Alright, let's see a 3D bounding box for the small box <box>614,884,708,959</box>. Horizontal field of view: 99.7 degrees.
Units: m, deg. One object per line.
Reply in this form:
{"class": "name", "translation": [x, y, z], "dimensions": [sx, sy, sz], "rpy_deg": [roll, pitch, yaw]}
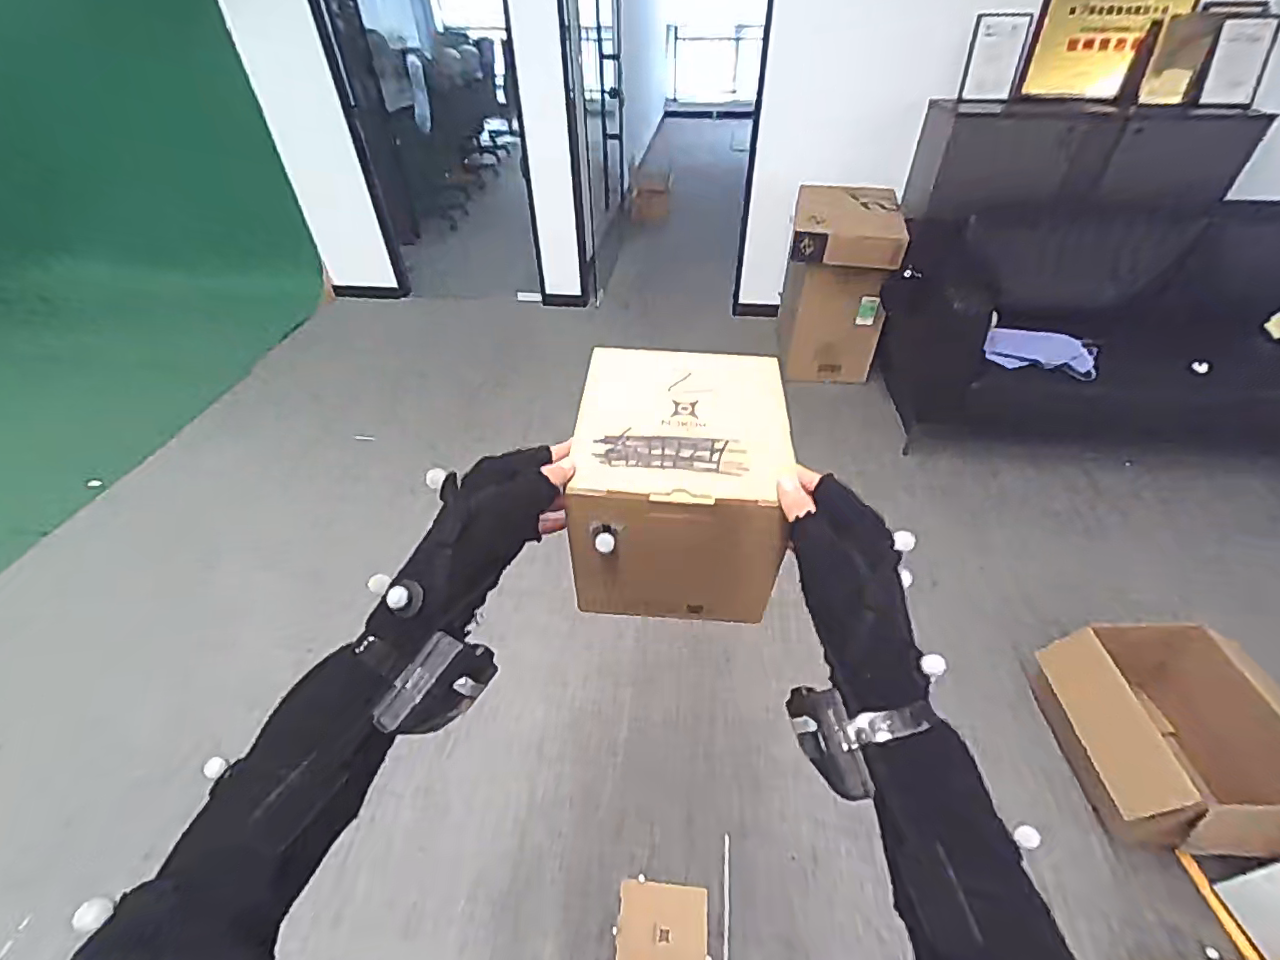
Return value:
{"class": "small box", "translation": [0.041, 0.933, 1.076], "dimensions": [0.179, 0.176, 0.168], "rpy_deg": [3, 41, 5]}
